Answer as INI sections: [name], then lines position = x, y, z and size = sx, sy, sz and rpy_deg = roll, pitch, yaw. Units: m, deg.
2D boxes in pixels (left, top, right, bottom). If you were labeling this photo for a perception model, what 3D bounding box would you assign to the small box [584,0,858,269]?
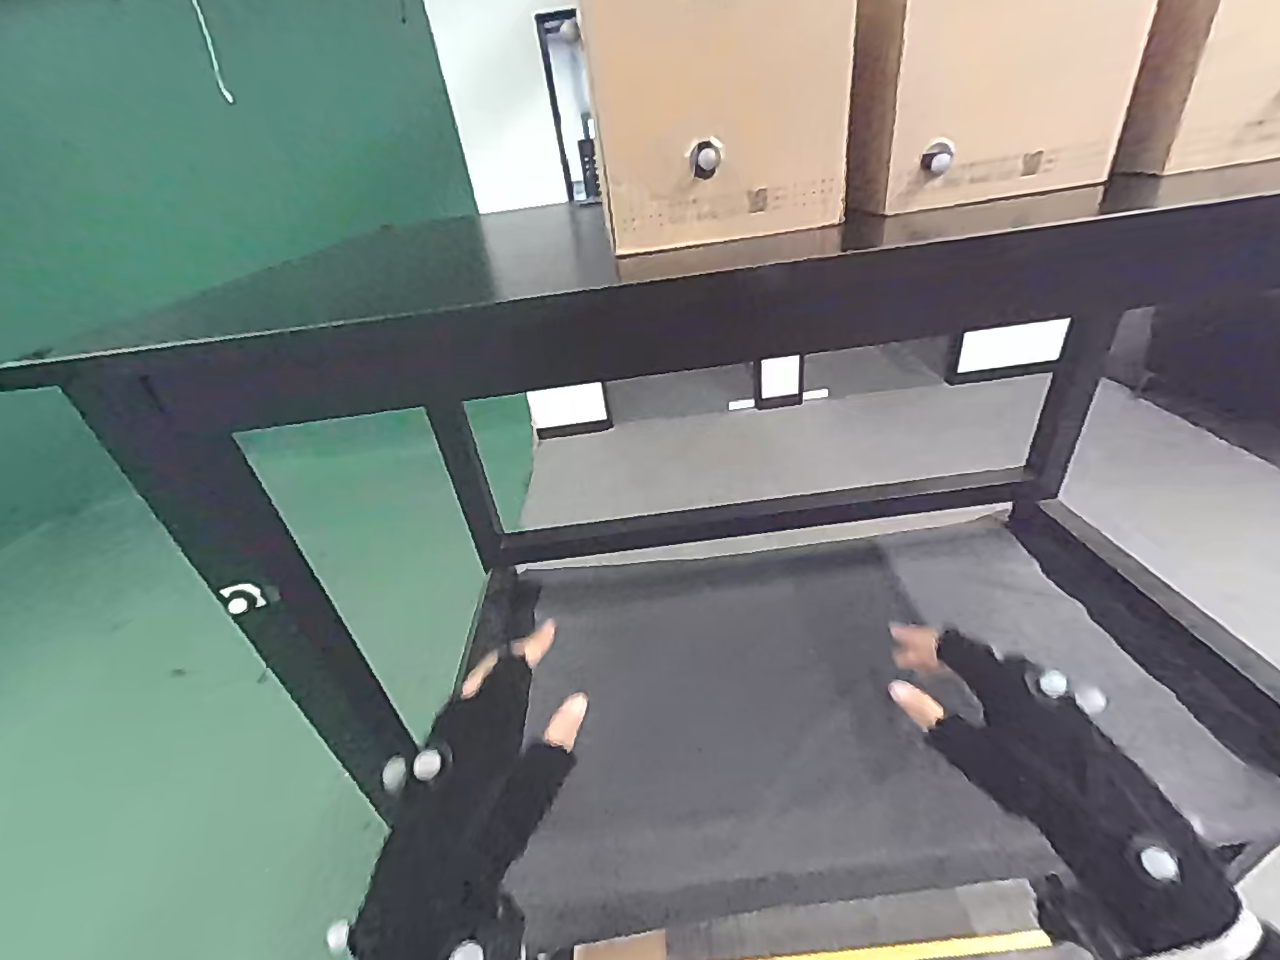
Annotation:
[small box]
position = 0.051, -0.274, 0.426
size = 0.168, 0.176, 0.179
rpy_deg = -8, 33, 0
